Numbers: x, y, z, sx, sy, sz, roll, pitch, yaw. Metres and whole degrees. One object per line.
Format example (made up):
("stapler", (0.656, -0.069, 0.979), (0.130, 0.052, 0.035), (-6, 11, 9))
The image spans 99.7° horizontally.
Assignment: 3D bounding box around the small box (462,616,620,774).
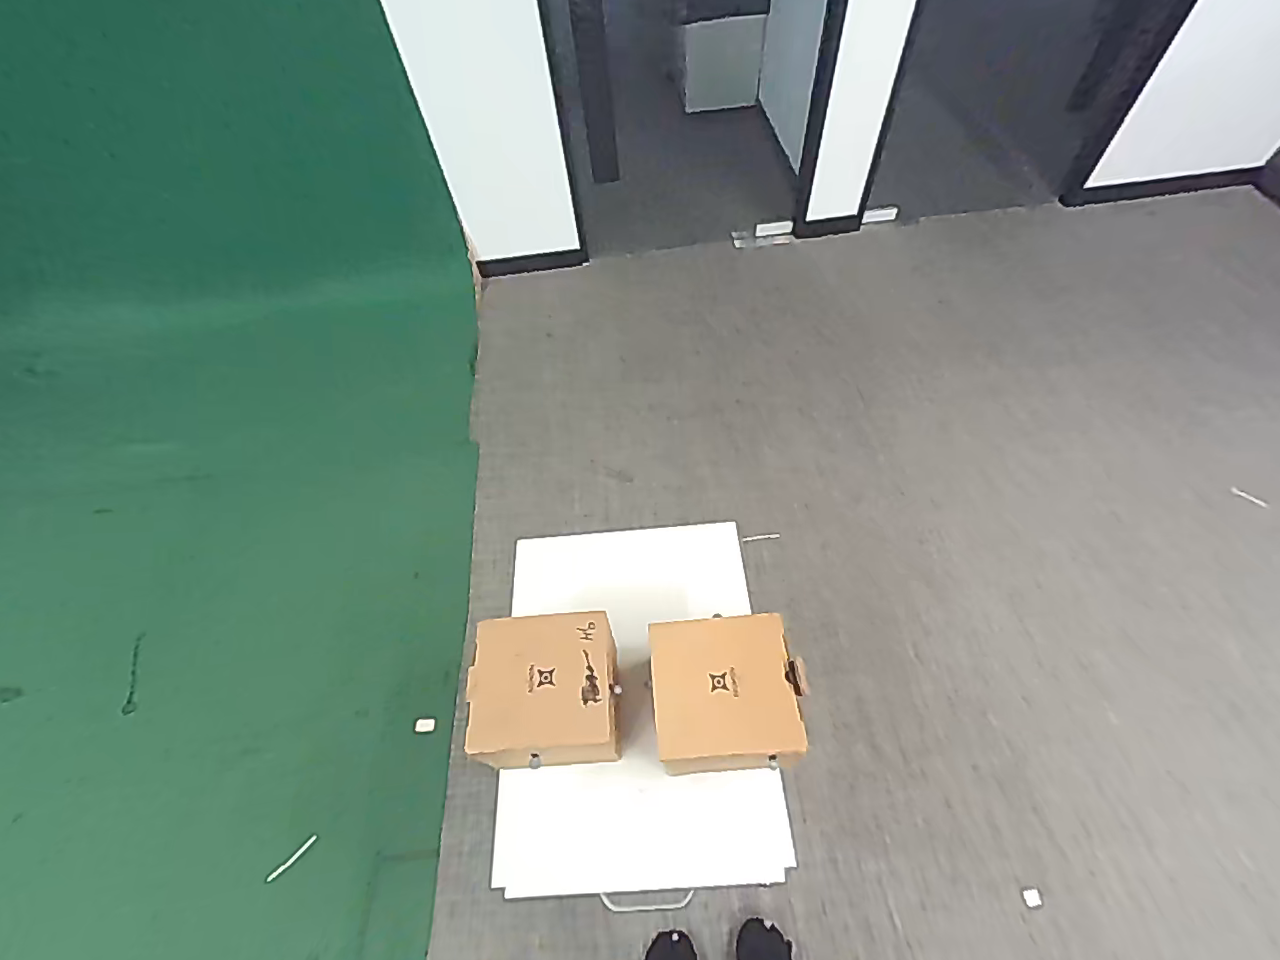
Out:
("small box", (-0.124, 0.301, 0.745), (0.179, 0.176, 0.168), (-5, 56, 1))
